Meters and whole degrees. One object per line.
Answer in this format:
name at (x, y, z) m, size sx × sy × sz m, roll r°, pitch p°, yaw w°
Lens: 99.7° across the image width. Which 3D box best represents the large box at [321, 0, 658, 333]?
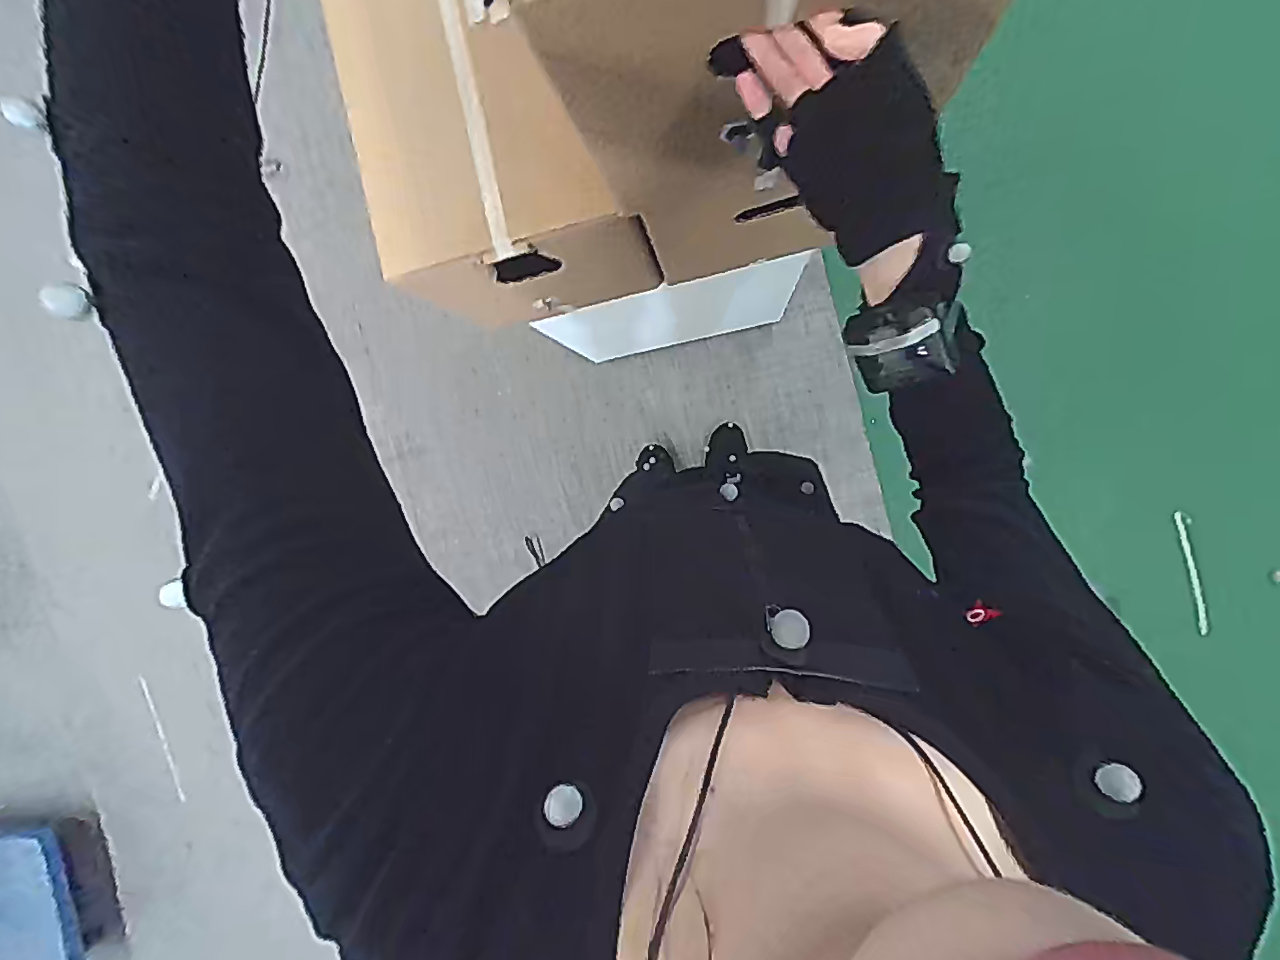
large box at (-0.181, -0.472, 0.776) m, size 0.320 × 0.320 × 0.408 m, roll -12°, pitch 91°, yaw 10°
